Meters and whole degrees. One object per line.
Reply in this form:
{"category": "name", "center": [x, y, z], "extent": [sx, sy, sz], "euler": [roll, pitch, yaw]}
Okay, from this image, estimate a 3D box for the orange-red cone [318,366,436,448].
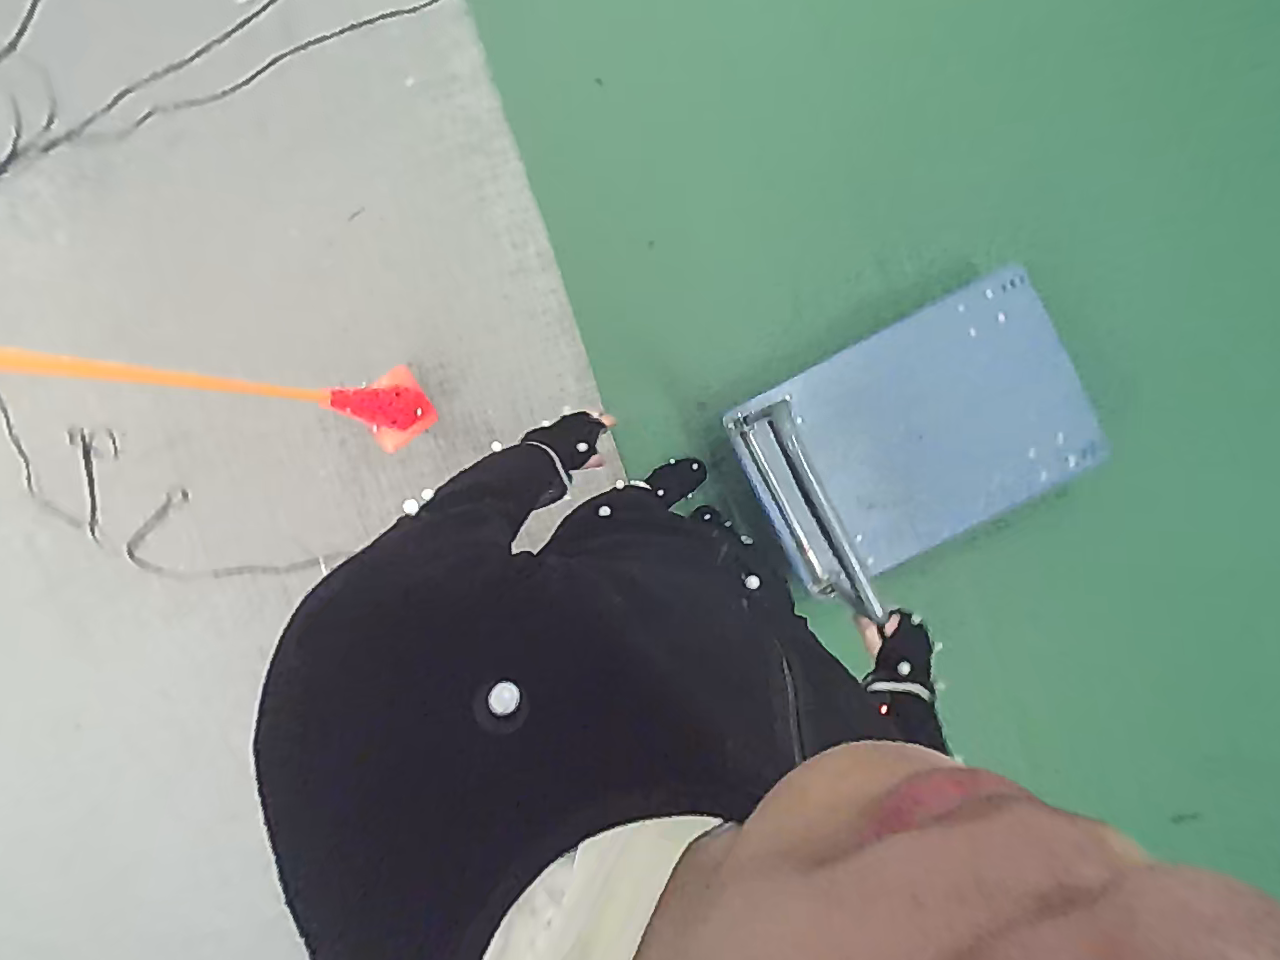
{"category": "orange-red cone", "center": [-0.745, -0.216, 1.463], "extent": [0.198, 0.360, 0.199], "euler": [-32, 90, 3]}
